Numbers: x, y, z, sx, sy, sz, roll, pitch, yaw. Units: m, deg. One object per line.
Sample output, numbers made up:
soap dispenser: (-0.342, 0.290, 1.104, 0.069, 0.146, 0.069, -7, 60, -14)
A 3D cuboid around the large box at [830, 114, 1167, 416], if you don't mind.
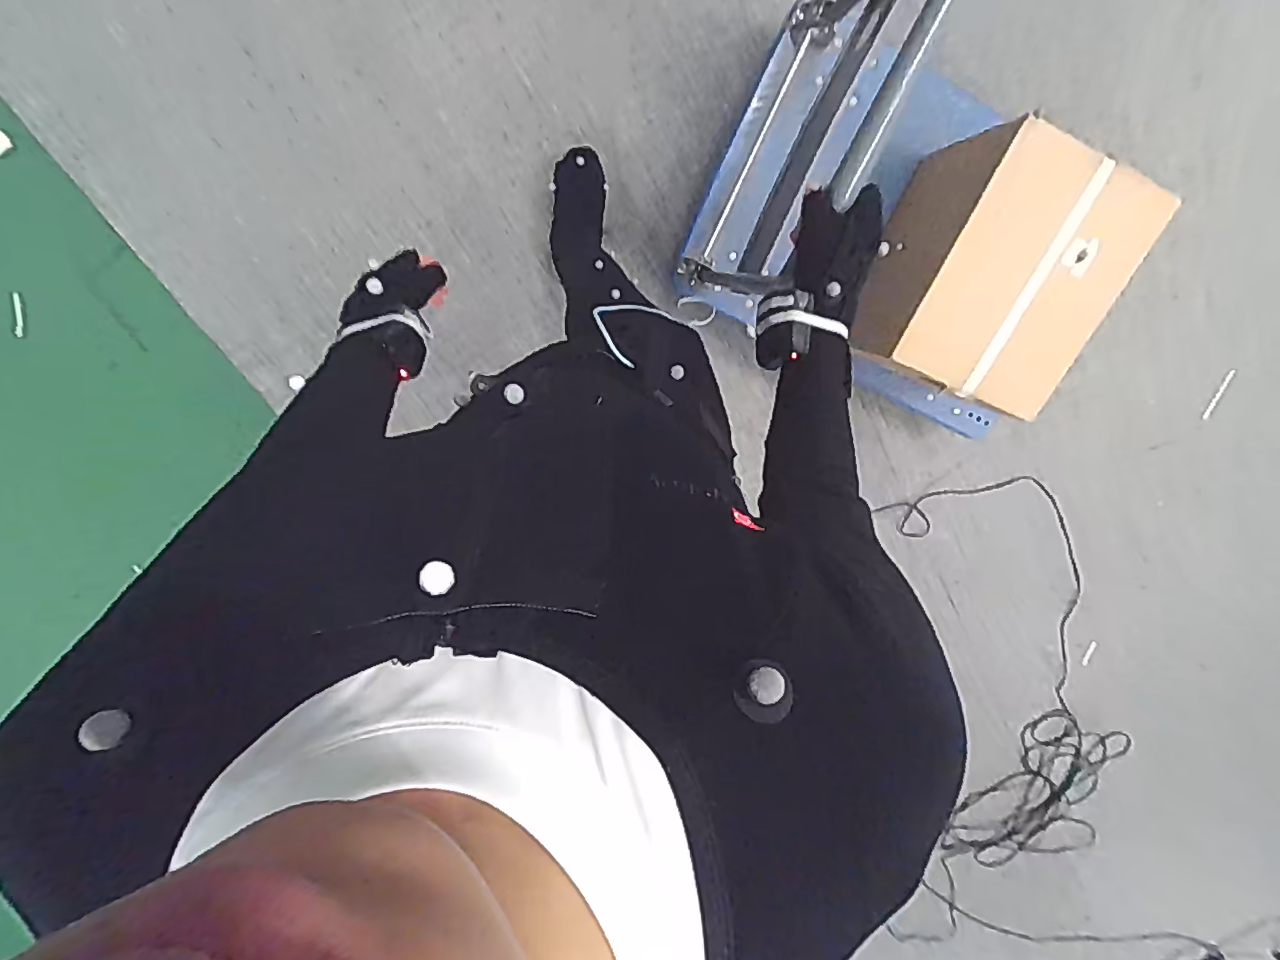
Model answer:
large box: (0.646, -0.388, 1.058, 0.320, 0.320, 0.408, 21, 107, -11)
